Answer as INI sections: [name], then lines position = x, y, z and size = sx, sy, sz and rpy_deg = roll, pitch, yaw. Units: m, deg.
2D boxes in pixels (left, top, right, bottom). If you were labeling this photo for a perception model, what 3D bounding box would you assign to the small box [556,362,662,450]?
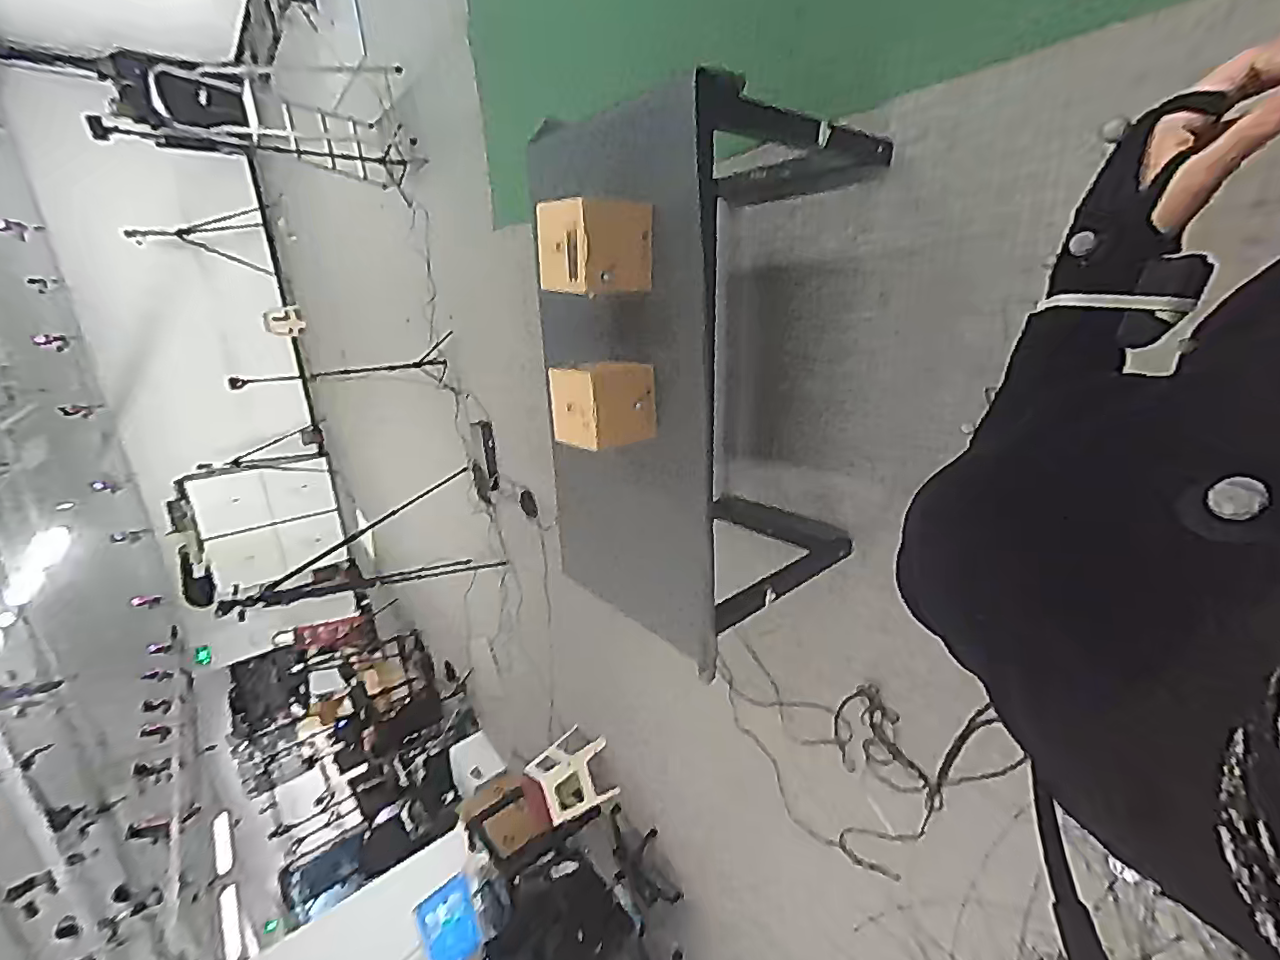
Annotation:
[small box]
position = -0.069, -0.174, 1.222
size = 0.179, 0.176, 0.168
rpy_deg = 17, 117, 49
